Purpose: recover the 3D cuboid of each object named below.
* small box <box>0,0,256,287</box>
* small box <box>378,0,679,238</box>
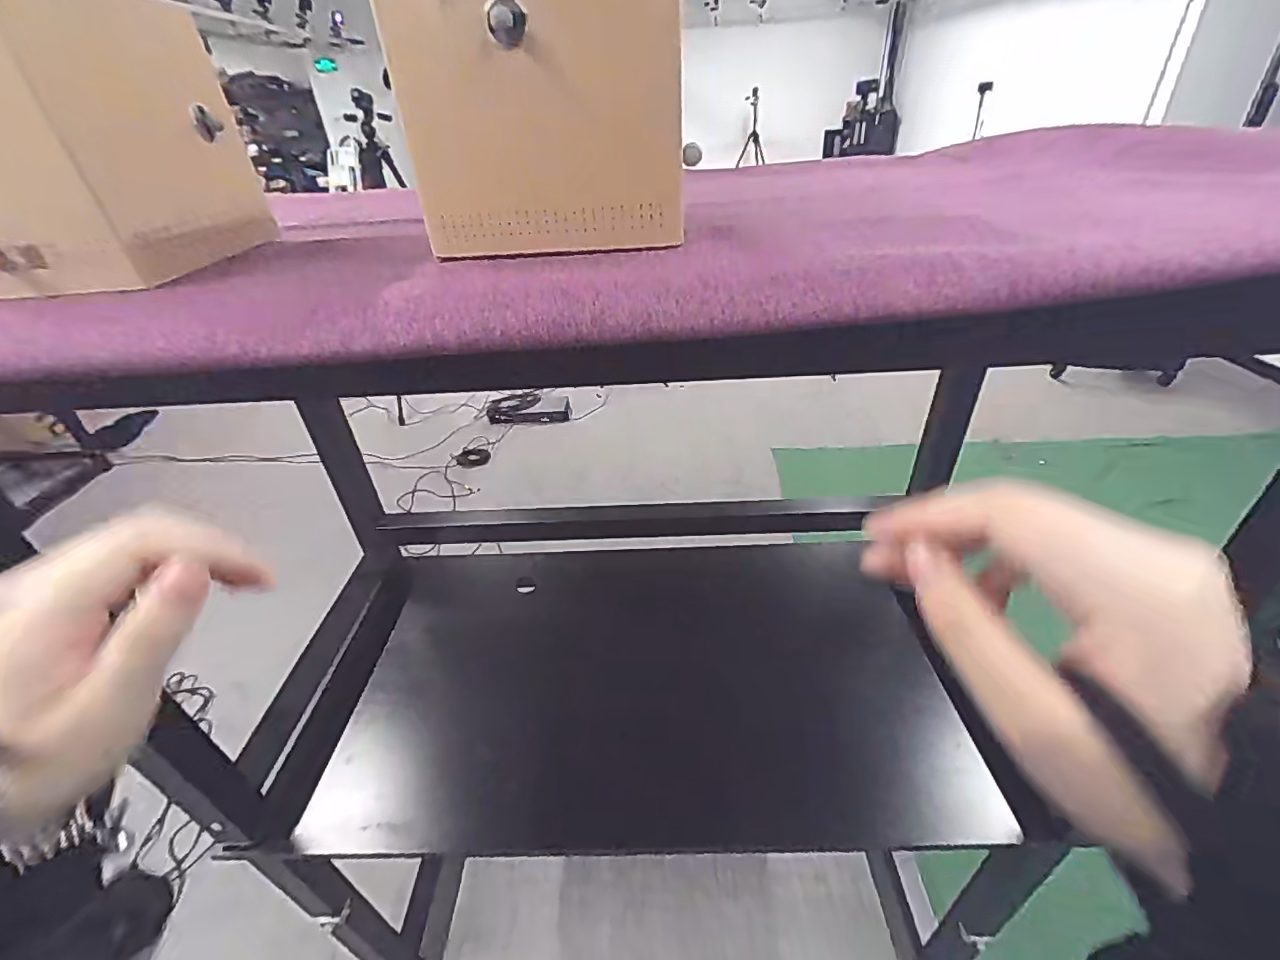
[{"bbox_3d":[-0.412,-0.240,0.372,0.168,0.176,0.179,-5,36,0],"label":"small box"},{"bbox_3d":[-0.063,-0.277,0.387,0.179,0.176,0.168,-2,33,3],"label":"small box"}]
